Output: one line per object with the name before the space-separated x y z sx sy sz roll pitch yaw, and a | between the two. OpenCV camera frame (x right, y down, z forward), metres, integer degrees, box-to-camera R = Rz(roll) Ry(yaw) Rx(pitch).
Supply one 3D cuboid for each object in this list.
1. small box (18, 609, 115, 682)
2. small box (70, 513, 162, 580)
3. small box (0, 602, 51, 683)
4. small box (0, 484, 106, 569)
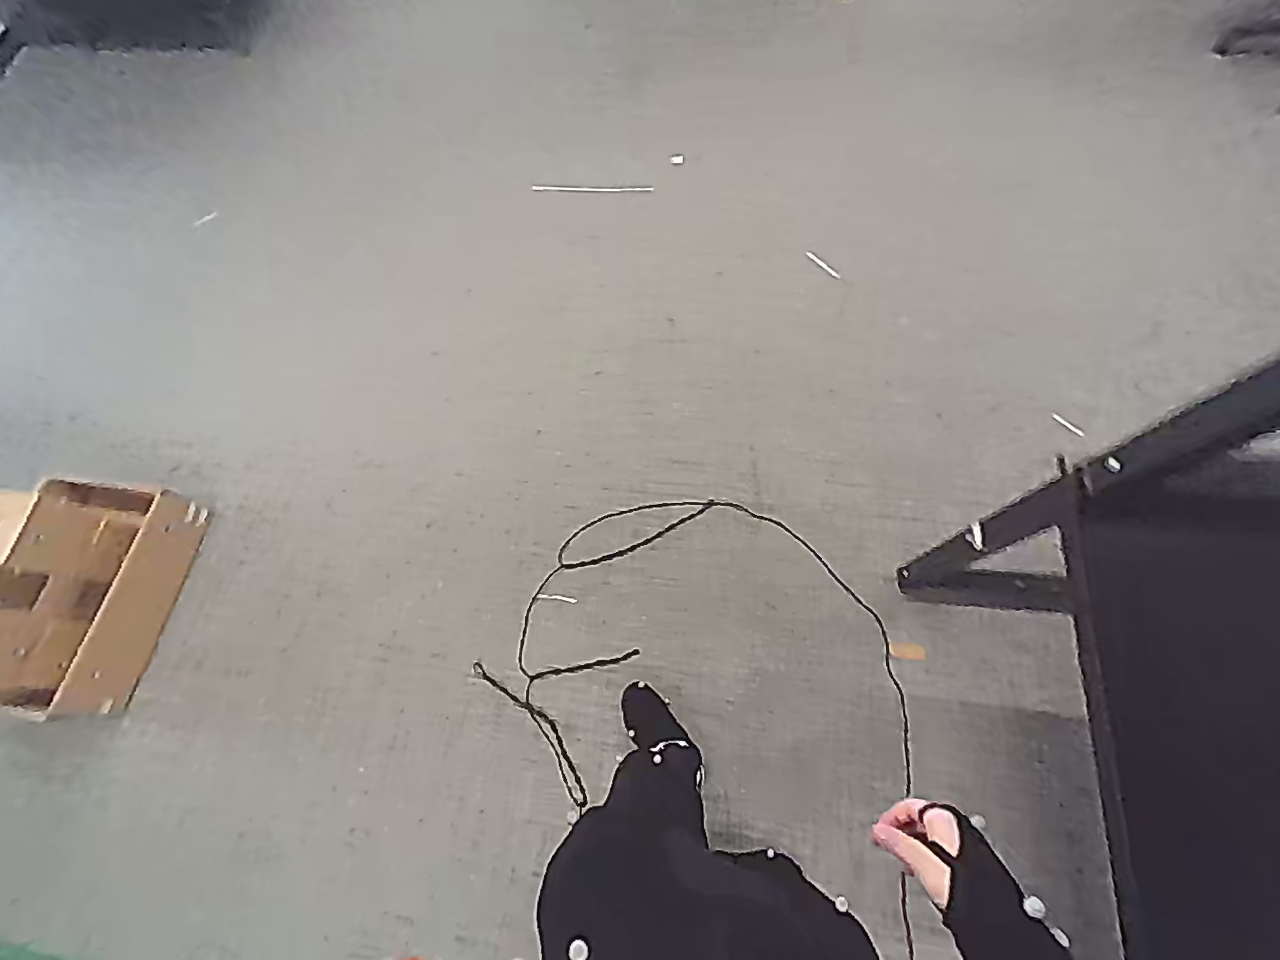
small box | -1.589 0.442 1.452 0.179 0.176 0.168 7 69 8
small box | -1.540 0.183 1.547 0.179 0.176 0.168 9 70 9
small box | -1.599 0.381 1.298 0.168 0.176 0.179 6 68 8
small box | -1.554 0.125 1.393 0.168 0.176 0.179 5 69 6
